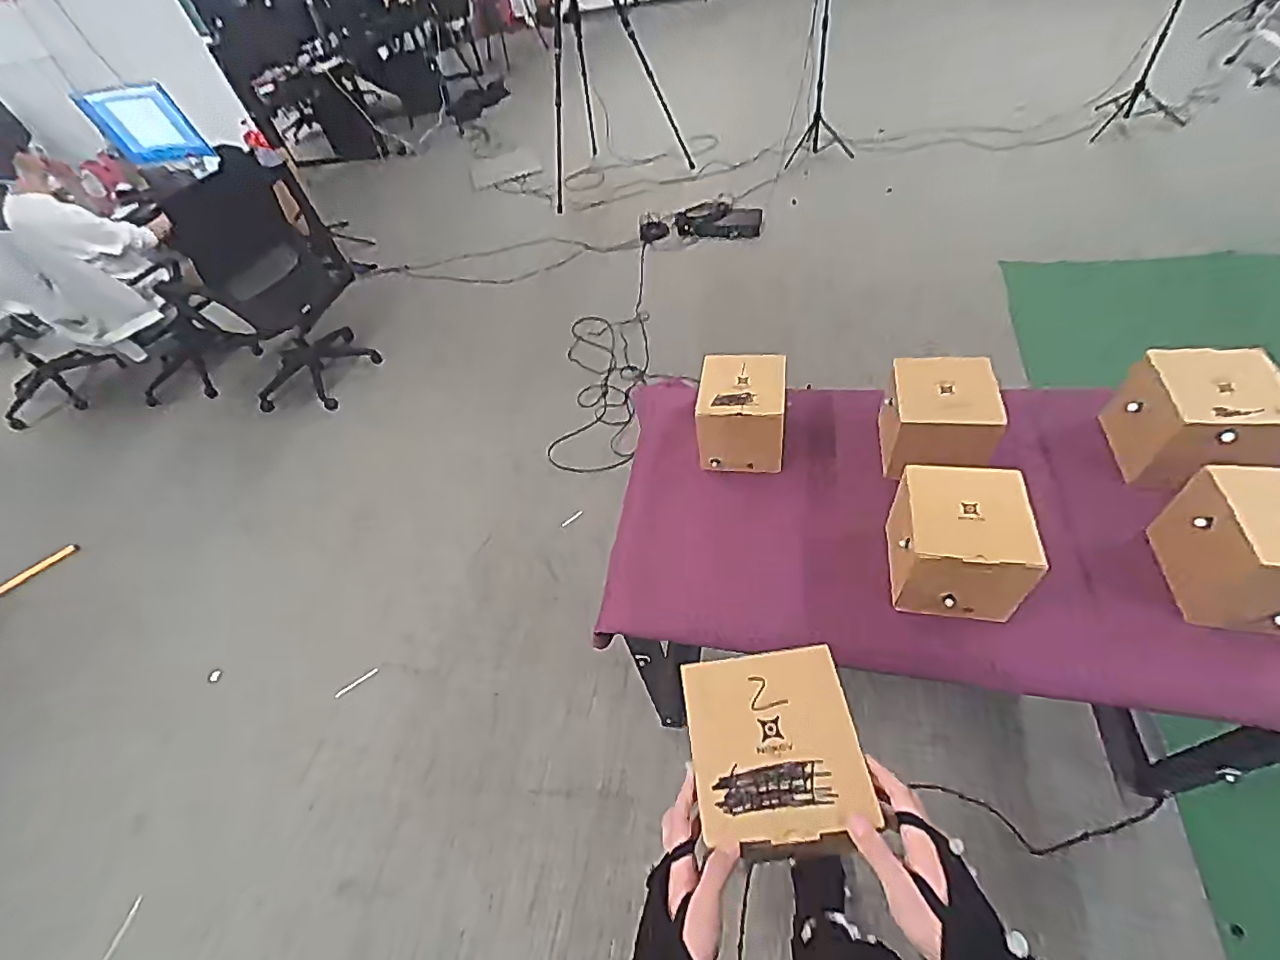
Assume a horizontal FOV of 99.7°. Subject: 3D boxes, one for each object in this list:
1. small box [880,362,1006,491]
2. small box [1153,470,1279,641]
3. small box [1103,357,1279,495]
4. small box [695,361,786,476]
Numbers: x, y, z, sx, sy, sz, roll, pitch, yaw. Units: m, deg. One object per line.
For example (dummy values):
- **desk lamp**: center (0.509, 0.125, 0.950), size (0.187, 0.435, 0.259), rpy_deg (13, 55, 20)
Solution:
- **small box**: center (0.557, -0.102, 1.024), size (0.168, 0.176, 0.179), rpy_deg (3, 52, 16)
- **small box**: center (0.891, 0.109, 0.769), size (0.168, 0.176, 0.179), rpy_deg (4, 50, 17)
- **small box**: center (0.948, -0.092, 0.928), size (0.168, 0.176, 0.179), rpy_deg (3, 52, 15)
- **small box**: center (0.211, -0.125, 1.113), size (0.168, 0.176, 0.179), rpy_deg (3, 51, 14)
